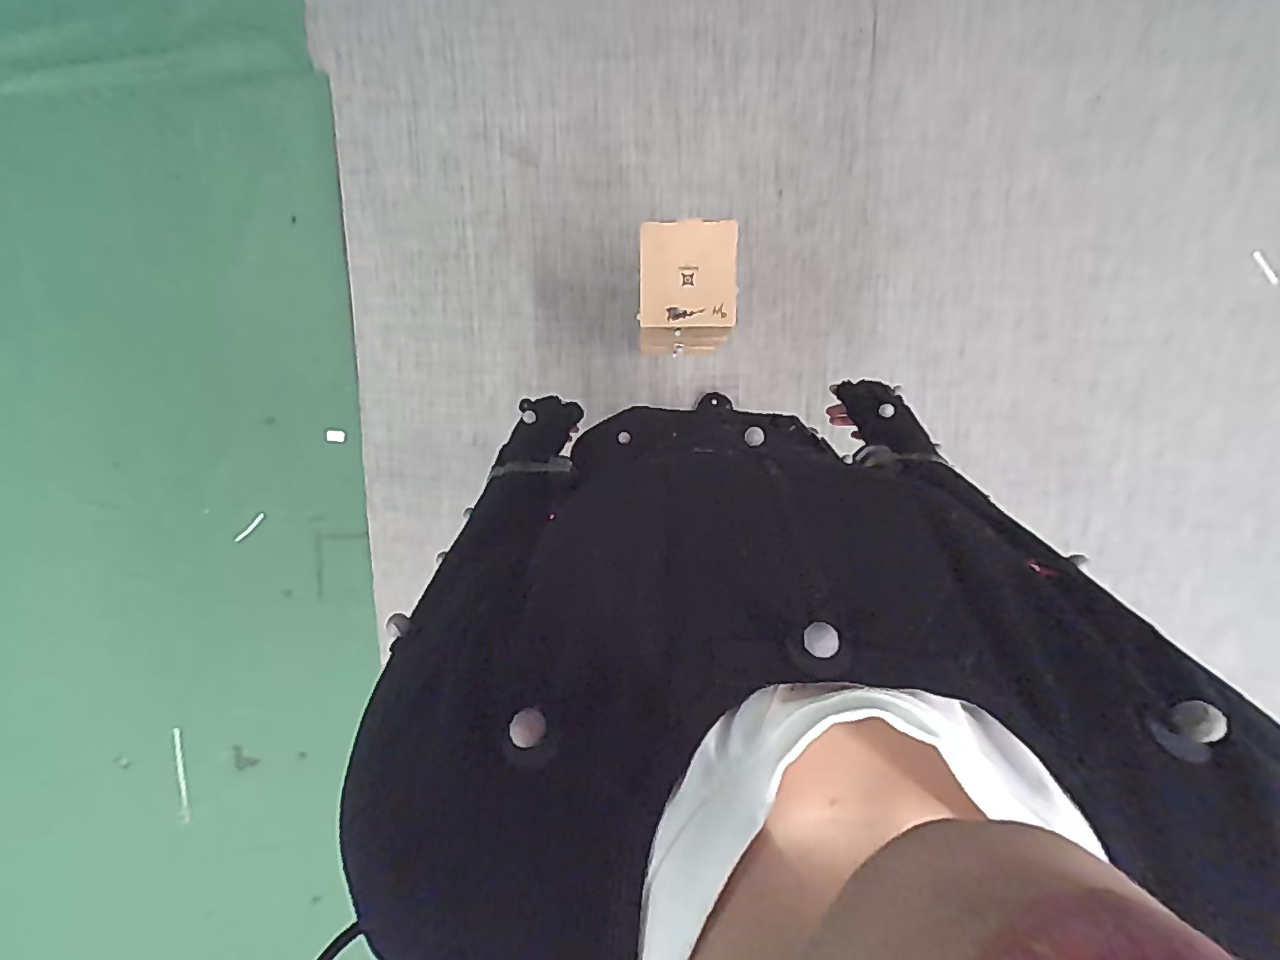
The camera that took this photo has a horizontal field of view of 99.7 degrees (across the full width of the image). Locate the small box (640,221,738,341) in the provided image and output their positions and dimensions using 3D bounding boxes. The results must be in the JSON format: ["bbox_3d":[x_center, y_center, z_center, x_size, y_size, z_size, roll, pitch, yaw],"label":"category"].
[{"bbox_3d":[0.086,-0.361,1.002,0.168,0.176,0.179,1,97,3],"label":"small box"}]

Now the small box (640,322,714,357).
[{"bbox_3d":[0.091,-0.395,1.326,0.179,0.176,0.168,2,98,3],"label":"small box"}]

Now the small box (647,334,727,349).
[{"bbox_3d":[0.100,-0.380,1.165,0.168,0.176,0.179,1,99,4],"label":"small box"}]
